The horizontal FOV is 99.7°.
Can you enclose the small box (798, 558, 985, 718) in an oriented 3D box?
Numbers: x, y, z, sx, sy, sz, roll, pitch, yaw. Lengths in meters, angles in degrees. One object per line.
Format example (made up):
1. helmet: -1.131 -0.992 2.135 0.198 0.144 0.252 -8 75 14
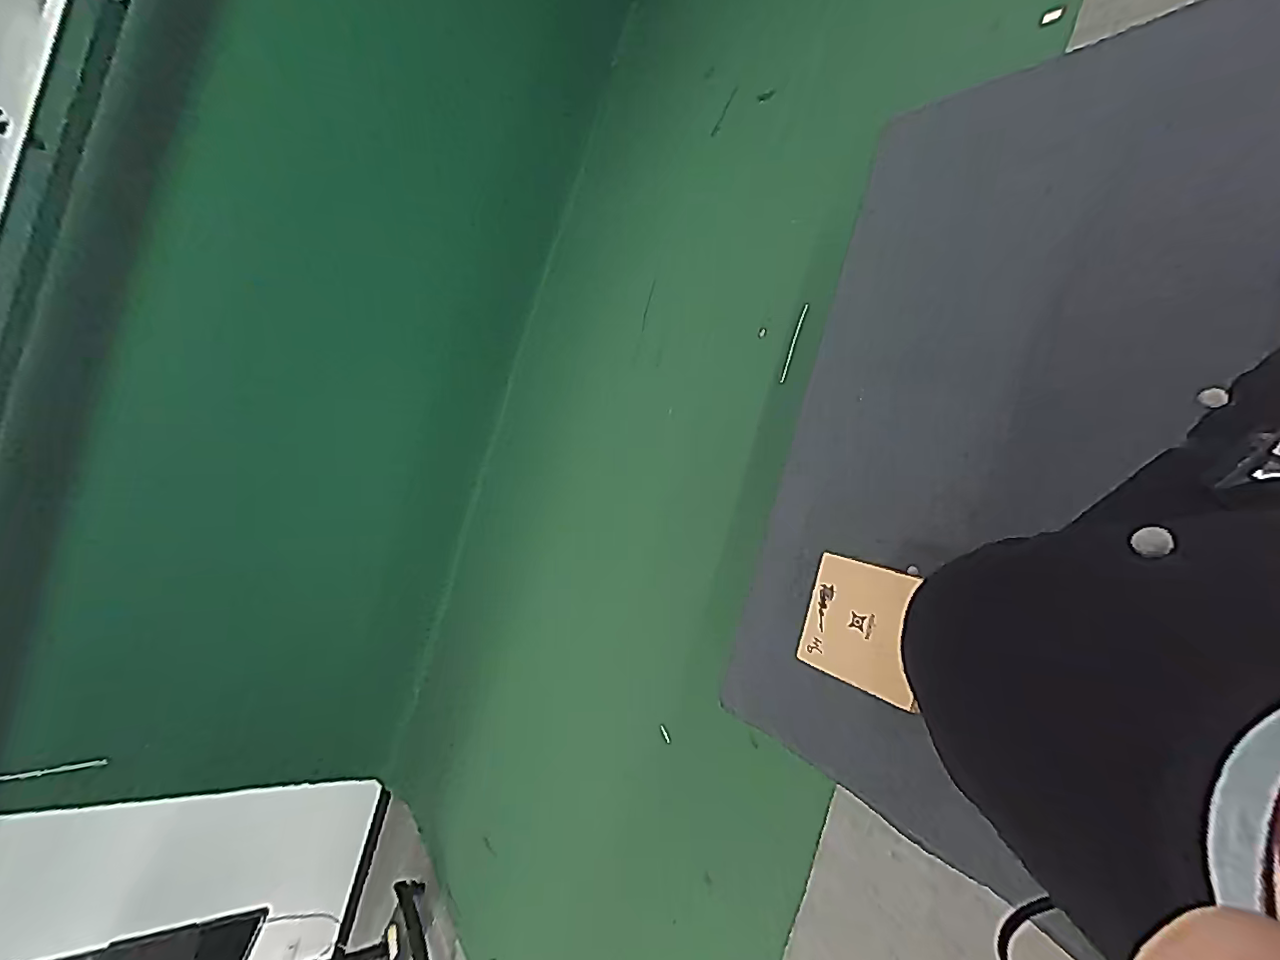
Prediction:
1. small box: 0.368 0.223 0.787 0.179 0.176 0.168 13 86 52
